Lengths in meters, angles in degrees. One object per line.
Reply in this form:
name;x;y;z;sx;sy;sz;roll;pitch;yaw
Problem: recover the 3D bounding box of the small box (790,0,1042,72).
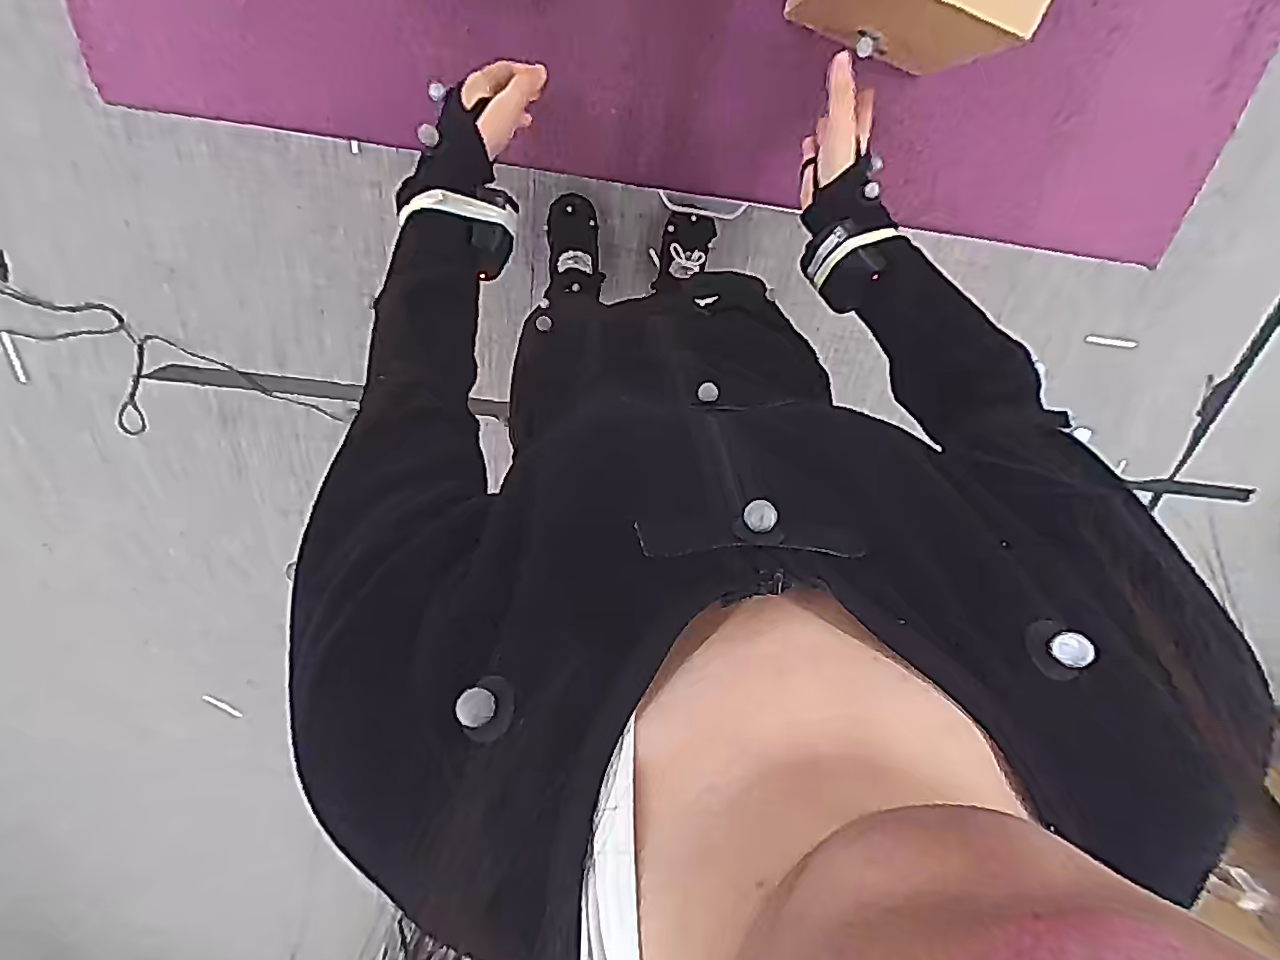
small box;0.248;-0.480;0.449;0.168;0.176;0.179;14;118;-11
